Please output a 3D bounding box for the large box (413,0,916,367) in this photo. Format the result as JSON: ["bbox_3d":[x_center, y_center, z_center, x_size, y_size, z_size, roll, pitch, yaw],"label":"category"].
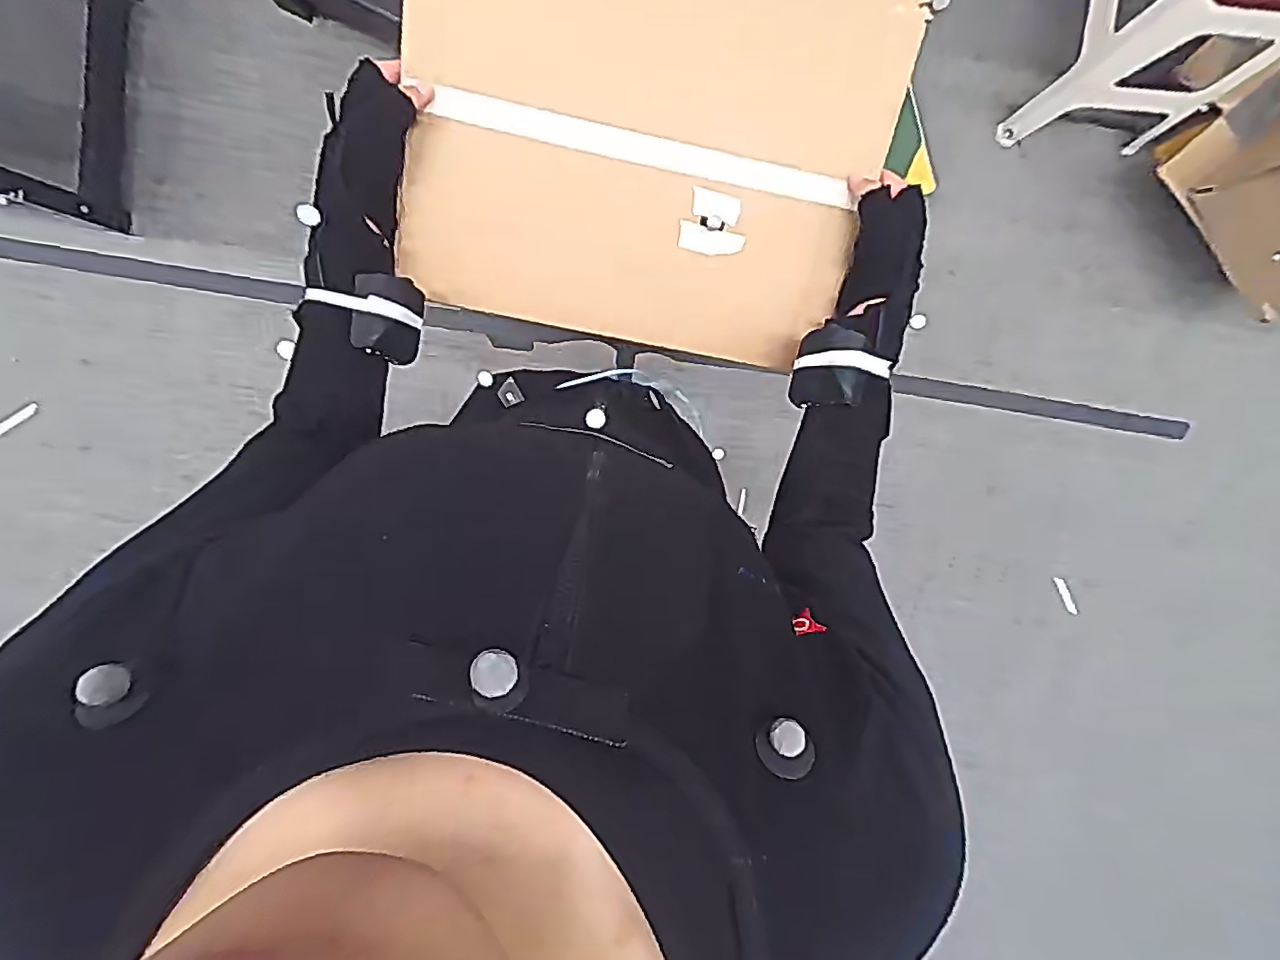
[{"bbox_3d":[-0.002,-0.330,0.610,0.408,0.320,0.320,9,110,-7],"label":"large box"}]
